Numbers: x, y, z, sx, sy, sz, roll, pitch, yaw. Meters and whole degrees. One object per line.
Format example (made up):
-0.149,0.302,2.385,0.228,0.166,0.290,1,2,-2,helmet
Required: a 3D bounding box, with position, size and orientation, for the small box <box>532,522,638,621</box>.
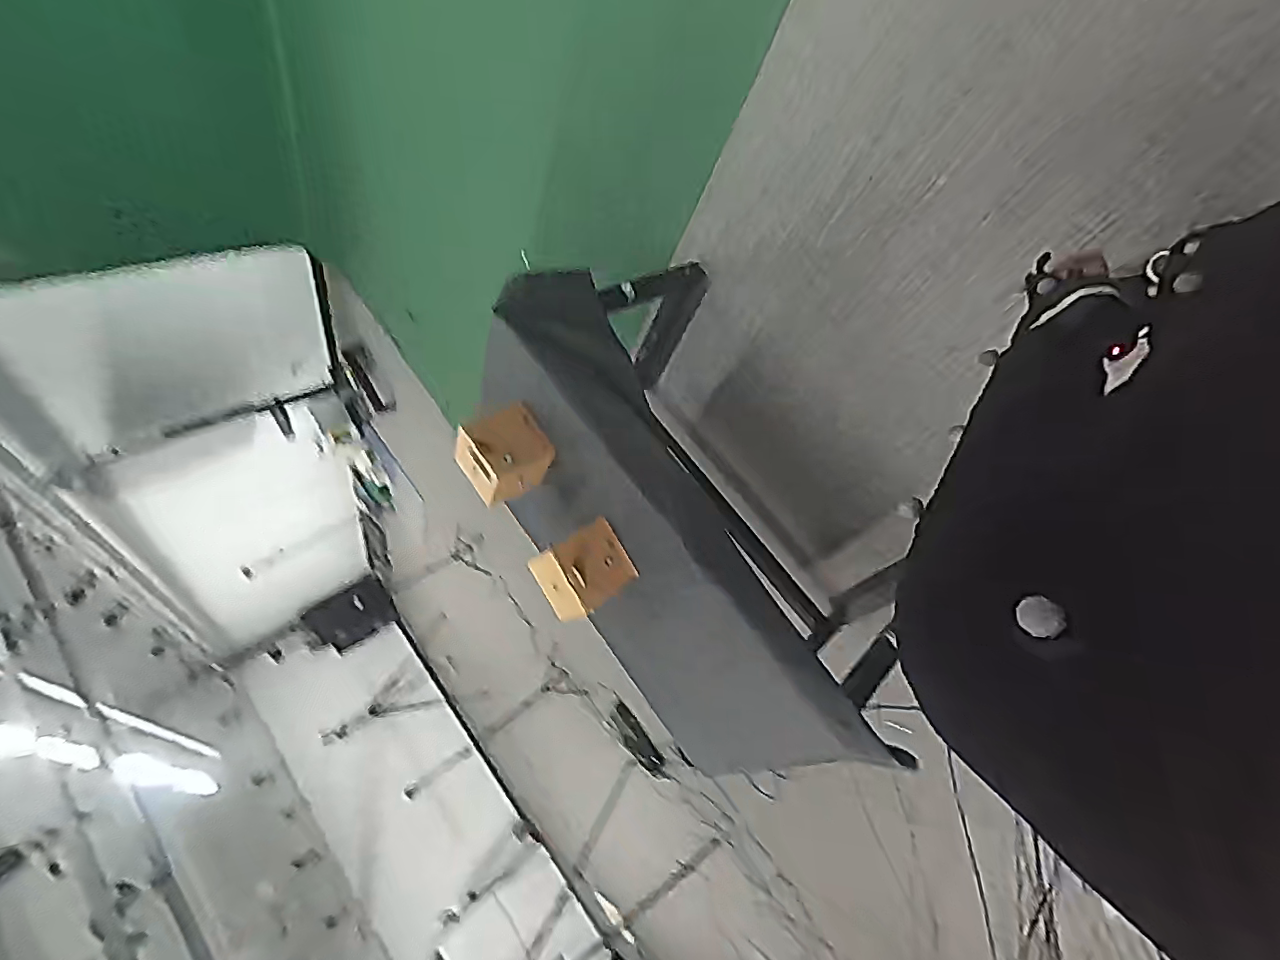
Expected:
-0.134,0.225,1.327,0.168,0.176,0.179,59,145,2,small box
